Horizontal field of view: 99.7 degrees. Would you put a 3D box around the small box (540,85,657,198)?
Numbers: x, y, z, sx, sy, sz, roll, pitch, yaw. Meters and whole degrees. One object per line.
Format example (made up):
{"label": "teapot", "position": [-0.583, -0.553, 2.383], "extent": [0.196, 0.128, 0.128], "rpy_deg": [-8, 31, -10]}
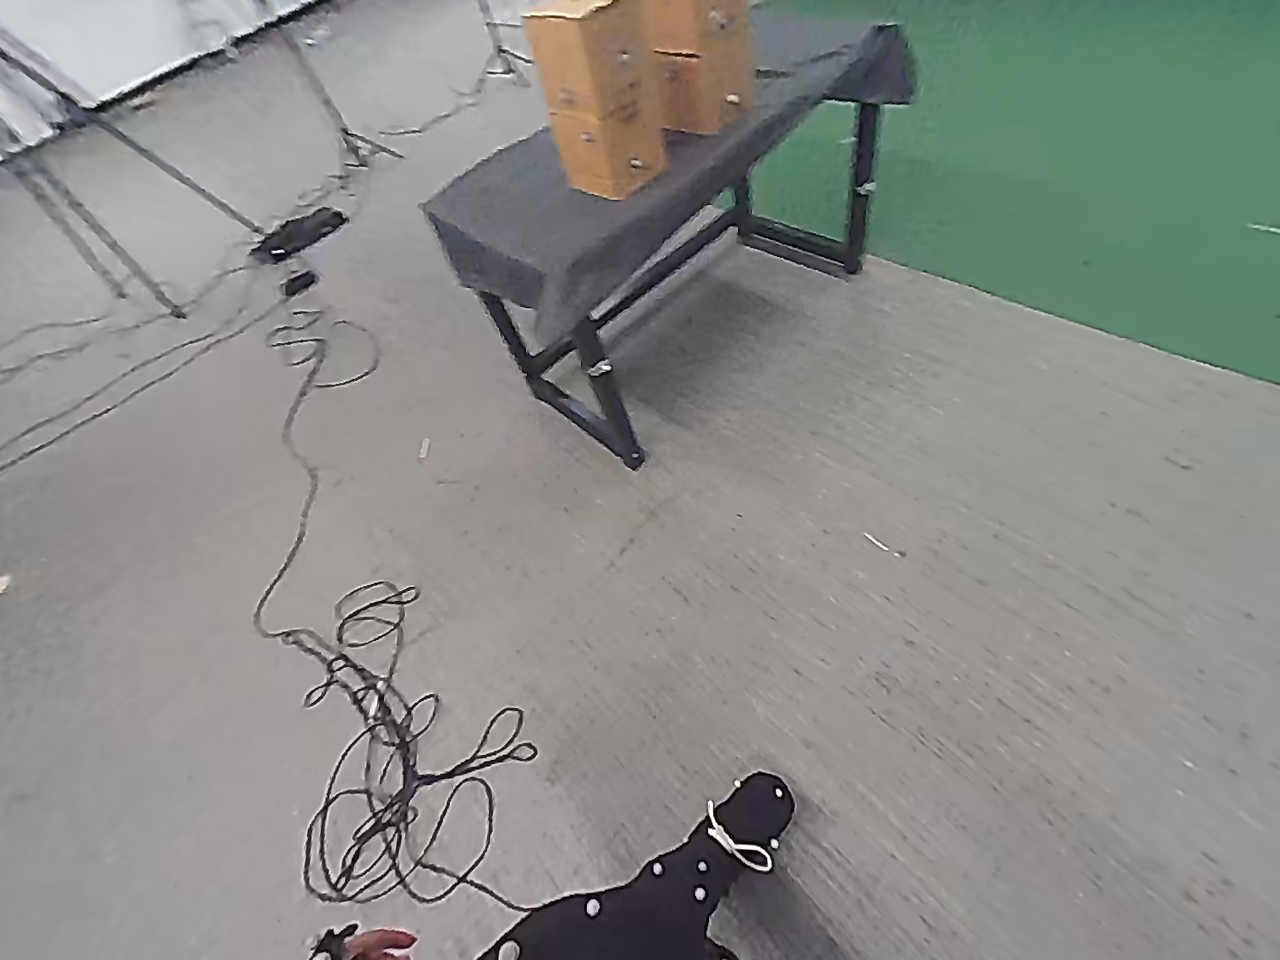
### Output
{"label": "small box", "position": [-0.087, -0.762, 1.211], "extent": [0.179, 0.176, 0.168], "rpy_deg": [34, 69, 32]}

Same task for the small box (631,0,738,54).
{"label": "small box", "position": [0.088, -1.046, 1.156], "extent": [0.168, 0.176, 0.179], "rpy_deg": [-43, 56, -14]}

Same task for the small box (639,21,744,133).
{"label": "small box", "position": [0.127, -0.957, 1.286], "extent": [0.168, 0.176, 0.179], "rpy_deg": [-44, 56, -16]}

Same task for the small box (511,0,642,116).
{"label": "small box", "position": [-0.117, -0.857, 1.081], "extent": [0.179, 0.176, 0.168], "rpy_deg": [33, 69, 30]}
